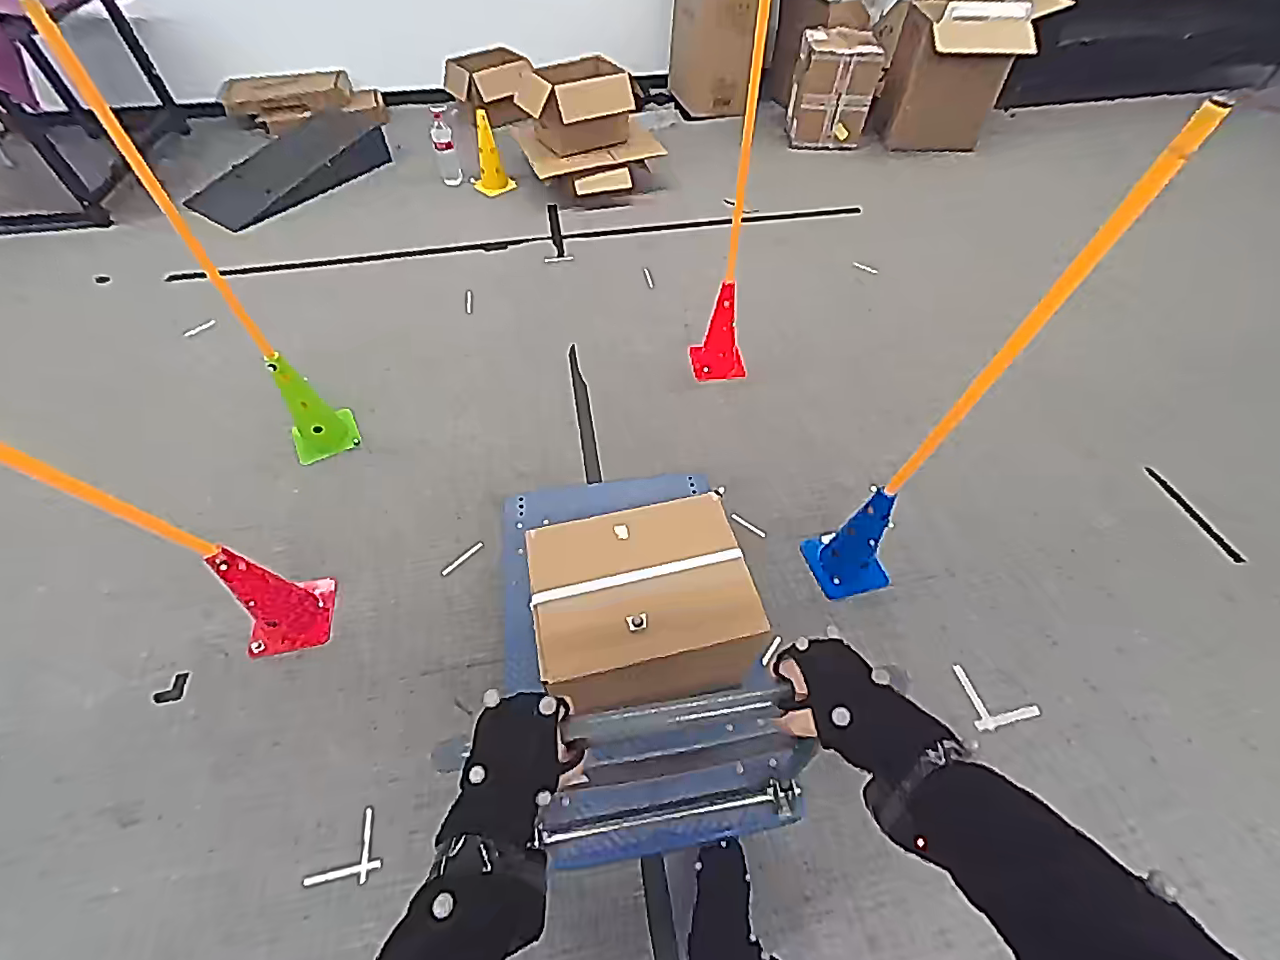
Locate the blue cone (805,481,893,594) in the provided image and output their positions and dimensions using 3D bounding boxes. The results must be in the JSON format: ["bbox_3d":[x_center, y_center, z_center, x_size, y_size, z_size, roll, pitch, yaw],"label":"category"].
[{"bbox_3d":[0.599,0.138,1.452,0.193,0.380,0.192,-11,53,-9],"label":"blue cone"}]

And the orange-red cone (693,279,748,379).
[{"bbox_3d":[0.311,-0.562,1.959,0.199,0.360,0.198,-2,54,-3],"label":"orange-red cone"}]
